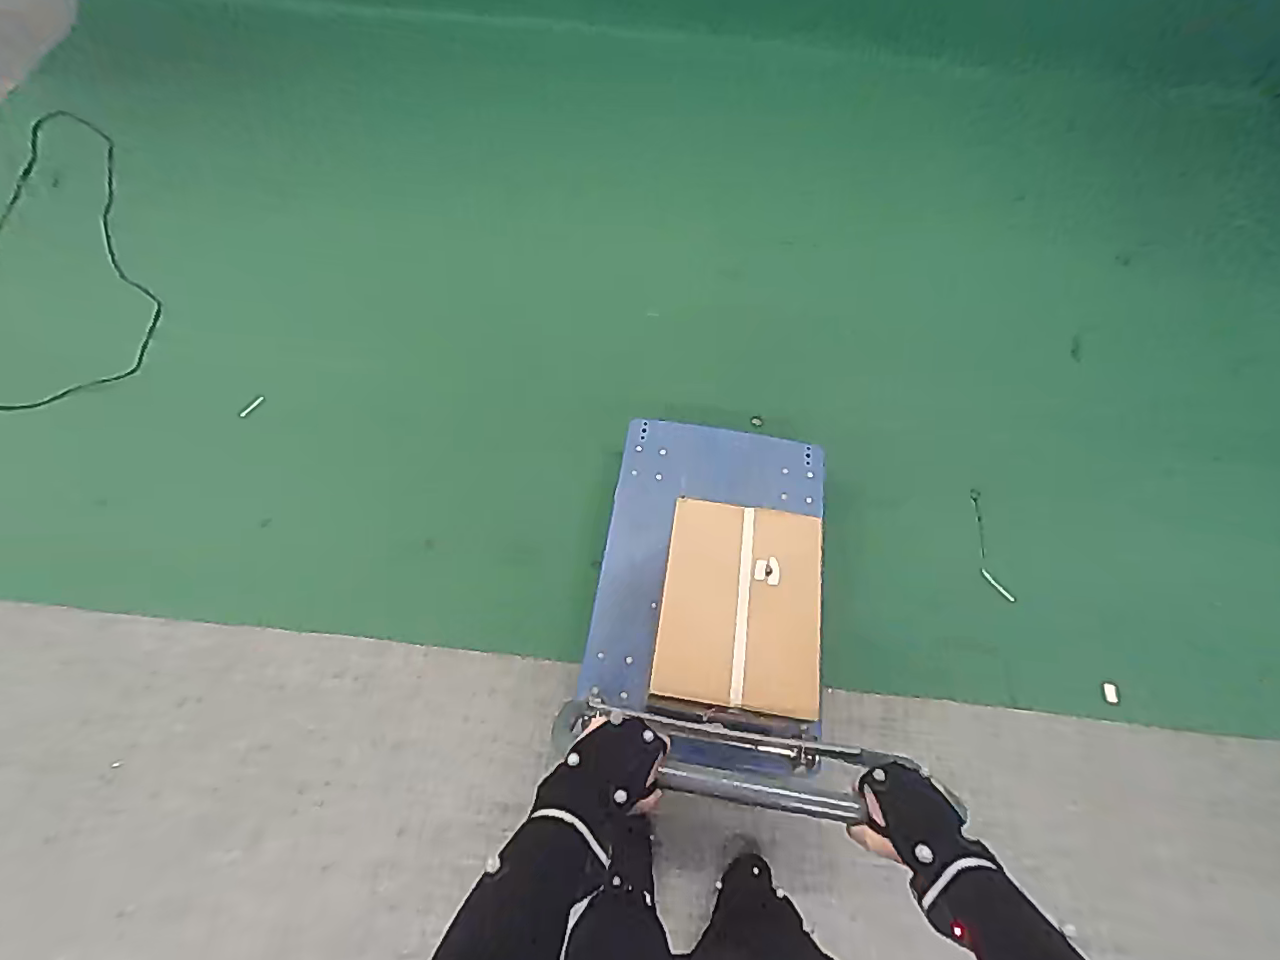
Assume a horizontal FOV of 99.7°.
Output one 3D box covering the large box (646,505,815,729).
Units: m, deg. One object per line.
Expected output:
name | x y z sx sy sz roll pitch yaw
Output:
large box | 0.190 0.316 1.211 0.320 0.320 0.408 9 63 2
